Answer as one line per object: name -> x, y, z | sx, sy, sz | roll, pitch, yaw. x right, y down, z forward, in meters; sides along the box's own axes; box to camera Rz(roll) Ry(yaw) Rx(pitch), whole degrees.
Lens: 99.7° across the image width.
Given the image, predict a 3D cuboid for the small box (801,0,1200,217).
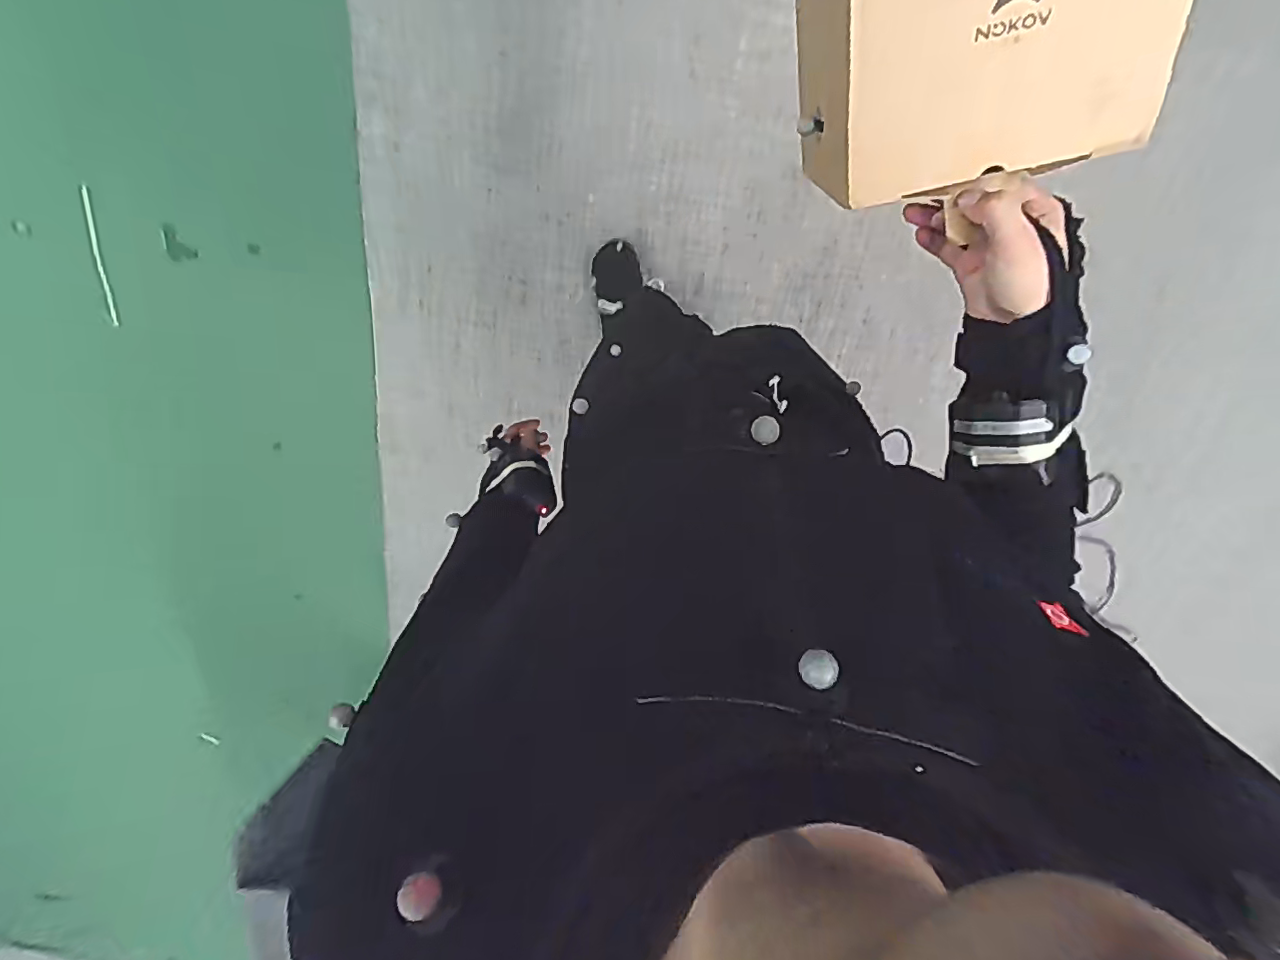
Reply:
small box -> 0.199, -0.288, 0.336 | 0.168, 0.176, 0.179 | -9, 124, 10
